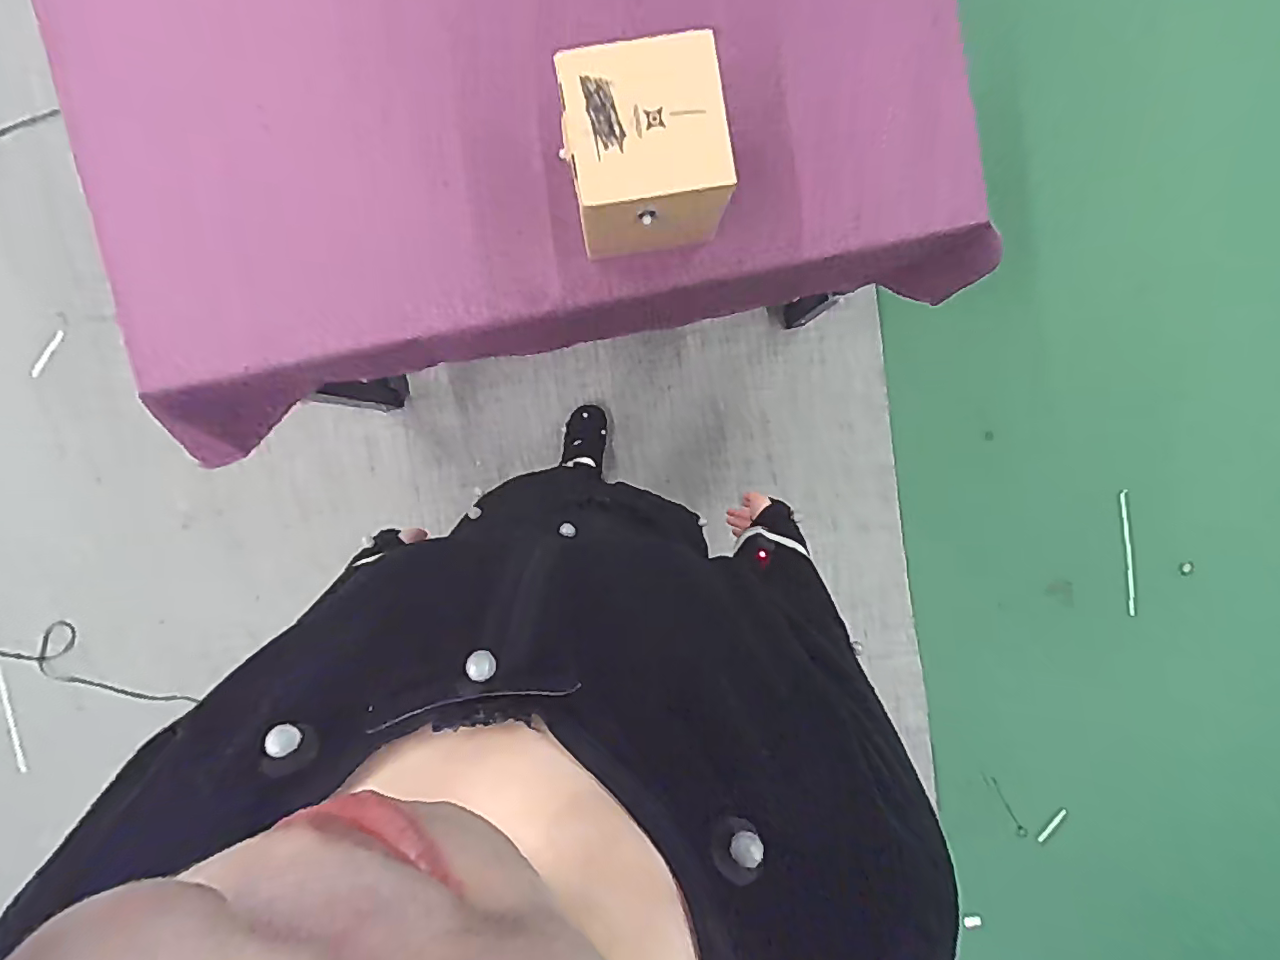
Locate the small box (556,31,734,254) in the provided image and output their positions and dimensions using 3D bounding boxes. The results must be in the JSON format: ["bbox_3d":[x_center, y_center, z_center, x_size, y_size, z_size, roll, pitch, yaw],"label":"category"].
[{"bbox_3d":[0.004,-0.397,0.667,0.179,0.176,0.168,-10,94,-2],"label":"small box"}]
